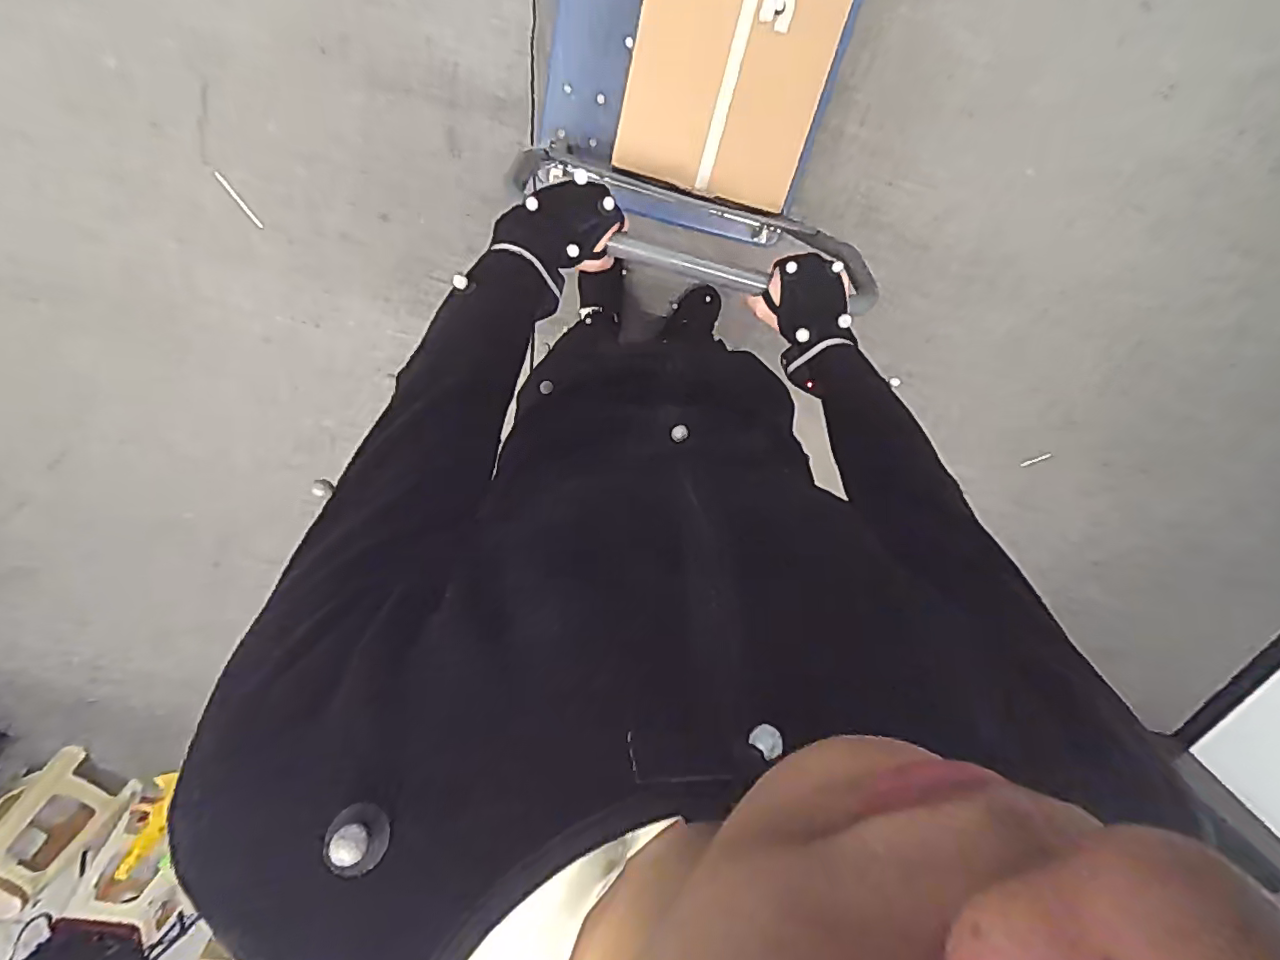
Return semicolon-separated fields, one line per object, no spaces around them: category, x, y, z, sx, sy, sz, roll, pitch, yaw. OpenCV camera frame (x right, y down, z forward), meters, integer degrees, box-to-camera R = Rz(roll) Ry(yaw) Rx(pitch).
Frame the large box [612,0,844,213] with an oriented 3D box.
large box;0.136;-0.743;0.998;0.320;0.320;0.408;11;116;-9
